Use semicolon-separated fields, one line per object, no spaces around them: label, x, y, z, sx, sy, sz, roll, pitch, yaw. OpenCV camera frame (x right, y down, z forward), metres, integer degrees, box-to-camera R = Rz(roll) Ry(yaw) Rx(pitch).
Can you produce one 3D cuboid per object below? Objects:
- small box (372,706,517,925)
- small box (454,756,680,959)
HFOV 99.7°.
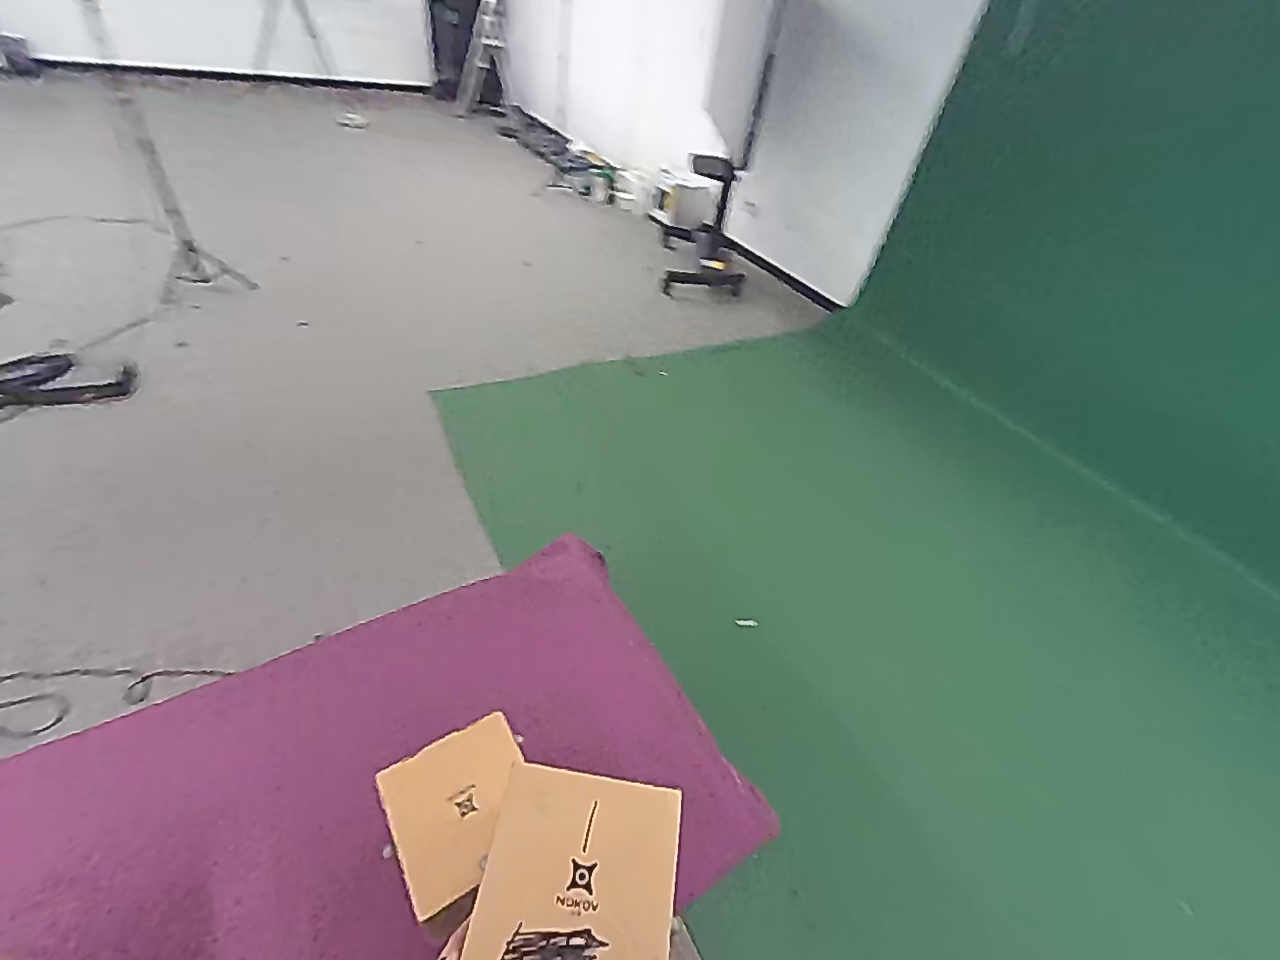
small box;-0.233;0.448;0.720;0.168;0.176;0.179;-20;50;-28
small box;-0.063;0.395;0.525;0.168;0.176;0.179;12;51;1
